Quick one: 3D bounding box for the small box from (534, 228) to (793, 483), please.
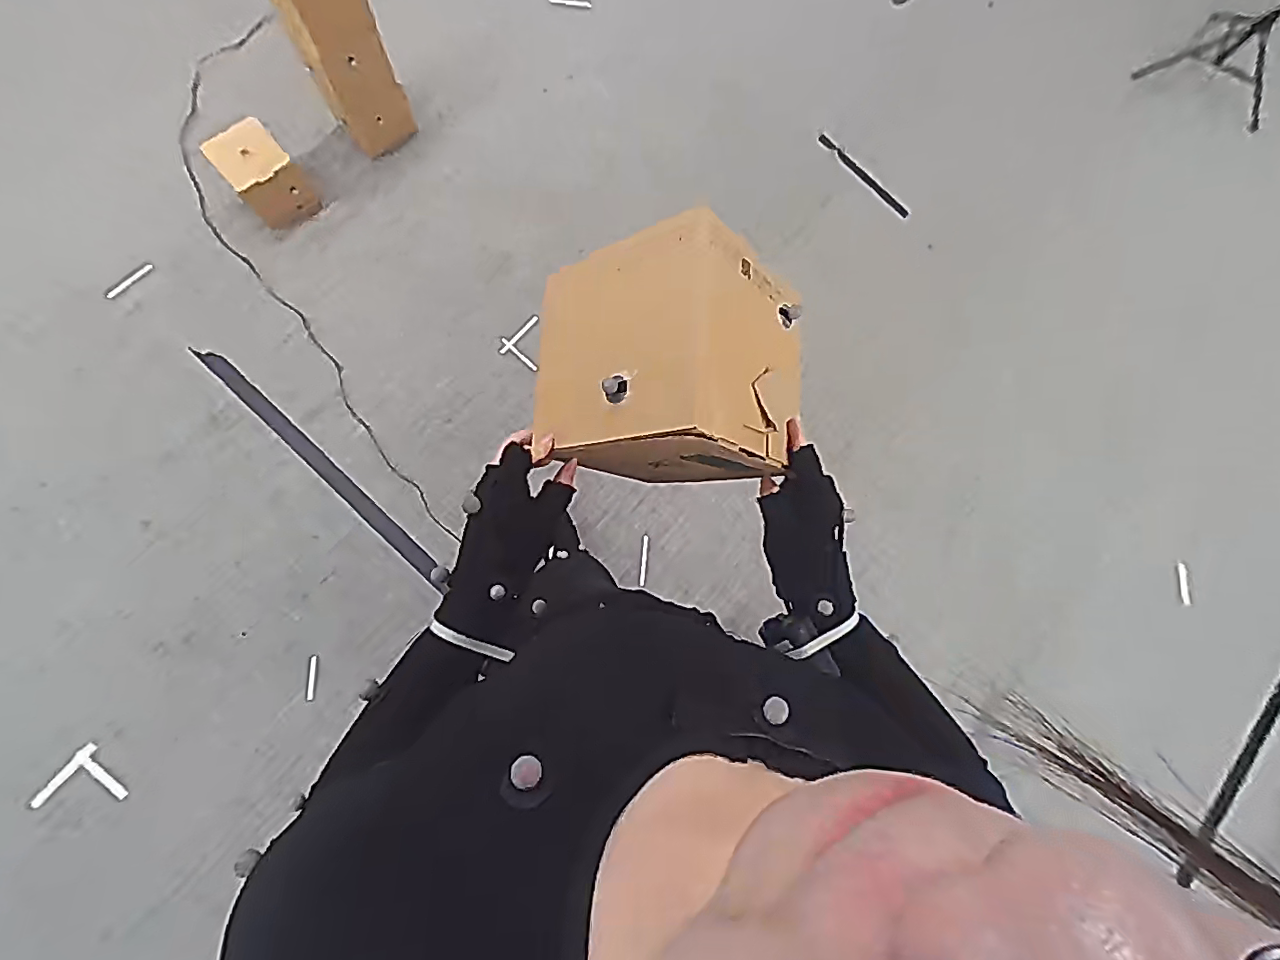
[{"bbox_3d":[0.024,-0.095,0.491,0.179,0.168,0.176,-4,78,40],"label":"small box"}]

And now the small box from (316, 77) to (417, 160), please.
[{"bbox_3d":[-0.790,-1.091,1.584,0.179,0.176,0.168,-43,87,-11],"label":"small box"}]

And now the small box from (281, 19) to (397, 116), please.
[{"bbox_3d":[-0.779,-1.112,1.420,0.179,0.176,0.168,-41,86,-12],"label":"small box"}]

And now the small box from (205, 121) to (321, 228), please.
[{"bbox_3d":[-1.044,-0.842,1.515,0.168,0.176,0.179,-40,86,-11],"label":"small box"}]

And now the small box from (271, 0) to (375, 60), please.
[{"bbox_3d":[-0.761,-1.143,1.261,0.179,0.176,0.168,-44,86,-12],"label":"small box"}]
